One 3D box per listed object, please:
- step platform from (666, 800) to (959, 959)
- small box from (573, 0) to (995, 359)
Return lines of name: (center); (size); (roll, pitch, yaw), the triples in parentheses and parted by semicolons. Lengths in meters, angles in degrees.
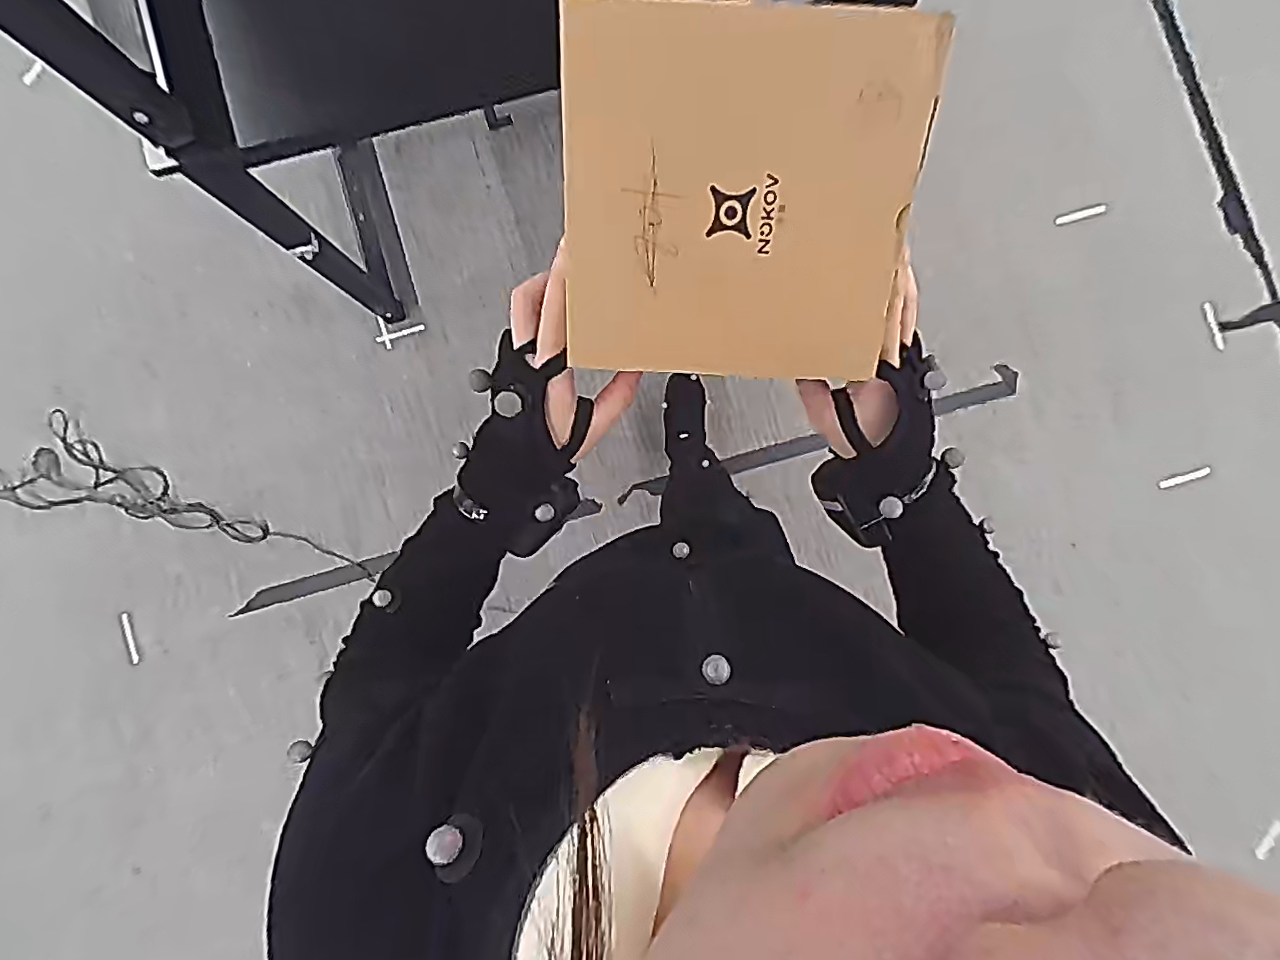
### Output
step platform: (0.414, 1.043, 1.345); (0.684, 0.204, 0.286); (-10, 87, -2)
small box: (0.056, -0.177, 0.322); (0.179, 0.176, 0.168); (3, 116, 0)
